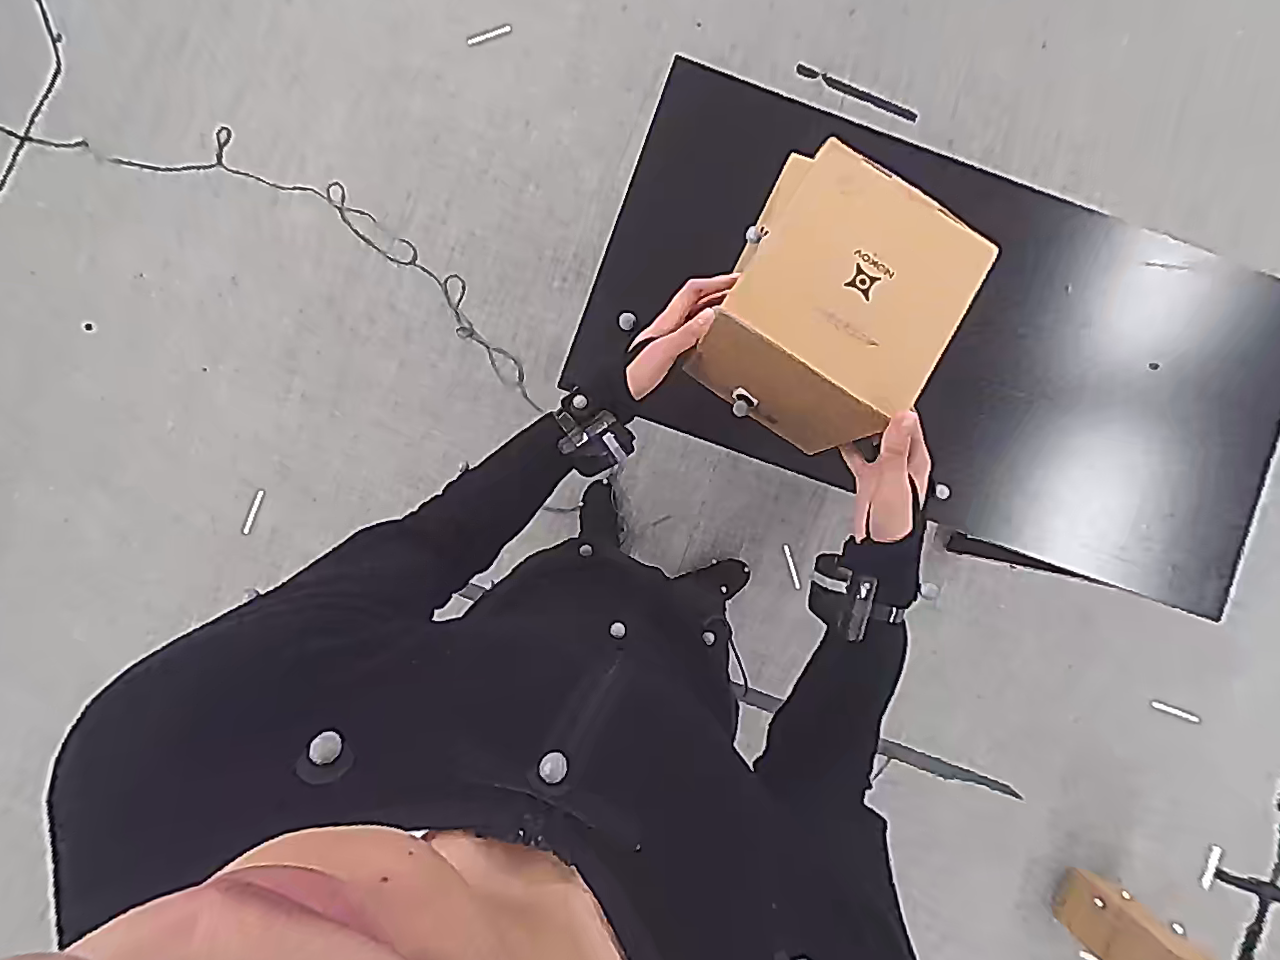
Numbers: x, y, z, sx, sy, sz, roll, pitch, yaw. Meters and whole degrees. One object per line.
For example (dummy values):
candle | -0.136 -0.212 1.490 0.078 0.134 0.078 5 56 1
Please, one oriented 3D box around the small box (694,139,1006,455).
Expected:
small box | 0.167 -0.143 0.489 0.168 0.176 0.179 33 83 -2

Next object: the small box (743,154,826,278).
small box | 0.218 -0.247 0.667 0.168 0.176 0.179 19 89 0

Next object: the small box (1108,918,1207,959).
small box | 1.375 1.298 1.402 0.168 0.176 0.179 20 90 -1
